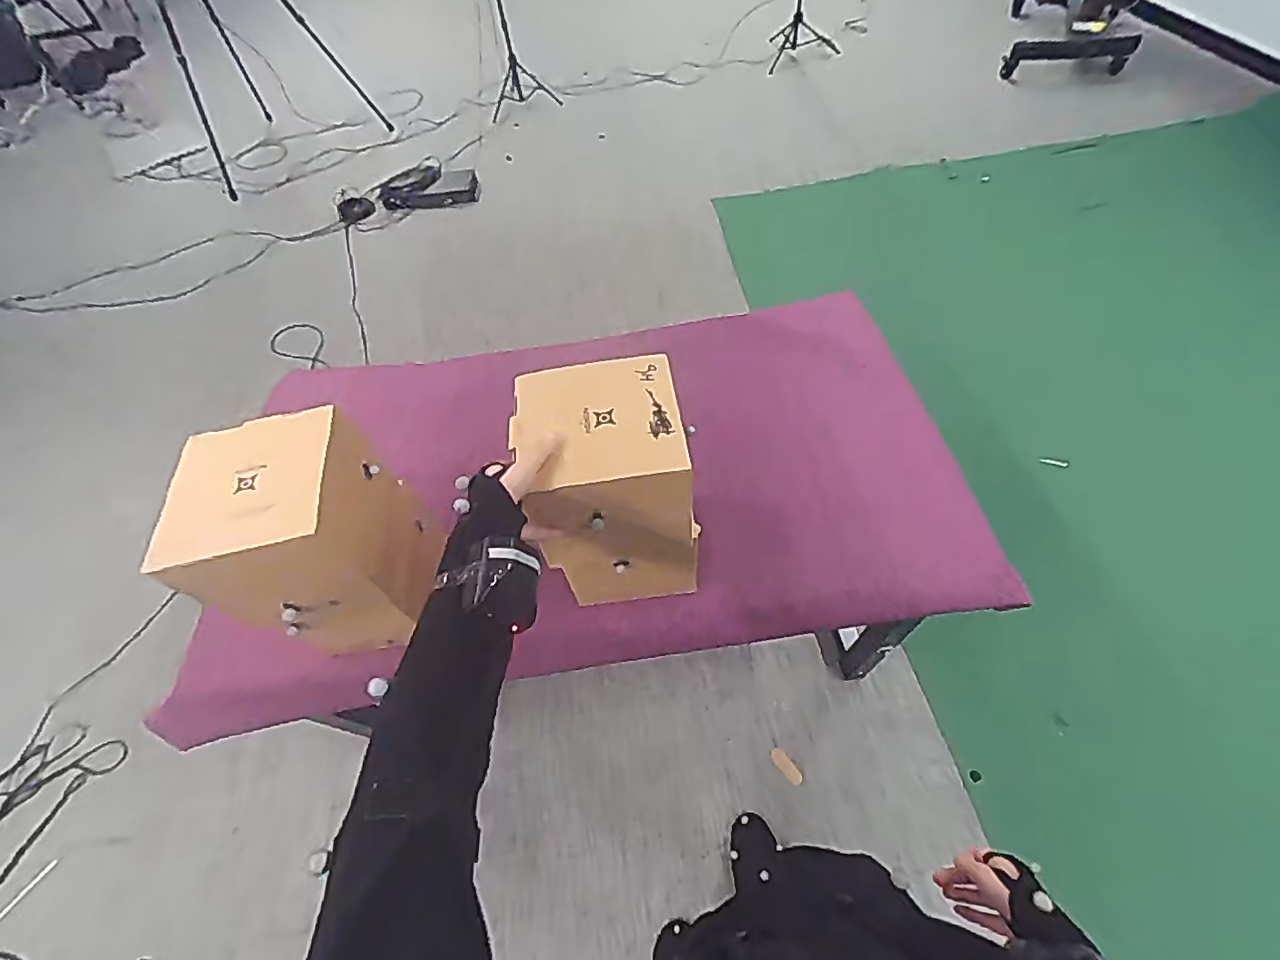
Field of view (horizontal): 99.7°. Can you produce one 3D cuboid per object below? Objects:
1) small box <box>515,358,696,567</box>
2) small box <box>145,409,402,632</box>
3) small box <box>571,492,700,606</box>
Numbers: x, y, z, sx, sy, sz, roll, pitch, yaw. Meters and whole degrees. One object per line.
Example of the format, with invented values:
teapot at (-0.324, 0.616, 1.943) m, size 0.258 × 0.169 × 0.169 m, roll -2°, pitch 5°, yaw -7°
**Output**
small box at (-0.034, -0.013, 0.625) m, size 0.179 × 0.176 × 0.168 m, roll -8°, pitch 55°, yaw 1°
small box at (-0.389, 0.050, 0.617) m, size 0.168 × 0.176 × 0.179 m, roll -13°, pitch 55°, yaw -2°
small box at (-0.012, 0.067, 0.767) m, size 0.179 × 0.176 × 0.168 m, roll -7°, pitch 55°, yaw 0°
